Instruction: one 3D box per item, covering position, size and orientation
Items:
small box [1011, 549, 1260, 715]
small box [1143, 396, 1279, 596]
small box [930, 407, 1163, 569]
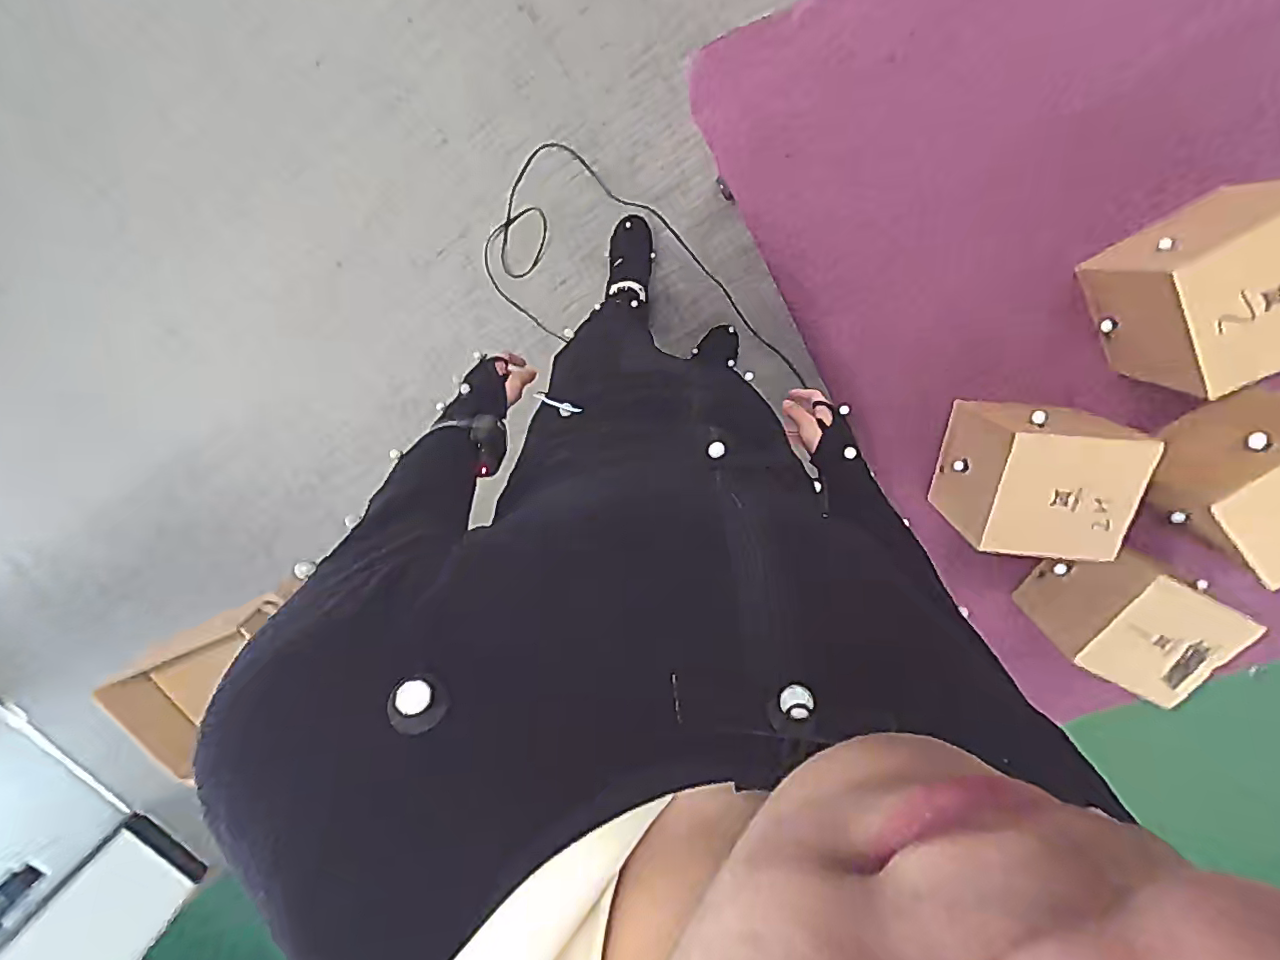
[{"bbox_3d":[0.723,0.207,0.815,0.179,0.176,0.168,27,112,-4],"label":"small box"},{"bbox_3d":[0.823,0.014,0.728,0.179,0.176,0.168,-42,102,19],"label":"small box"},{"bbox_3d":[0.537,0.002,0.749,0.179,0.176,0.168,6,112,2],"label":"small box"}]
